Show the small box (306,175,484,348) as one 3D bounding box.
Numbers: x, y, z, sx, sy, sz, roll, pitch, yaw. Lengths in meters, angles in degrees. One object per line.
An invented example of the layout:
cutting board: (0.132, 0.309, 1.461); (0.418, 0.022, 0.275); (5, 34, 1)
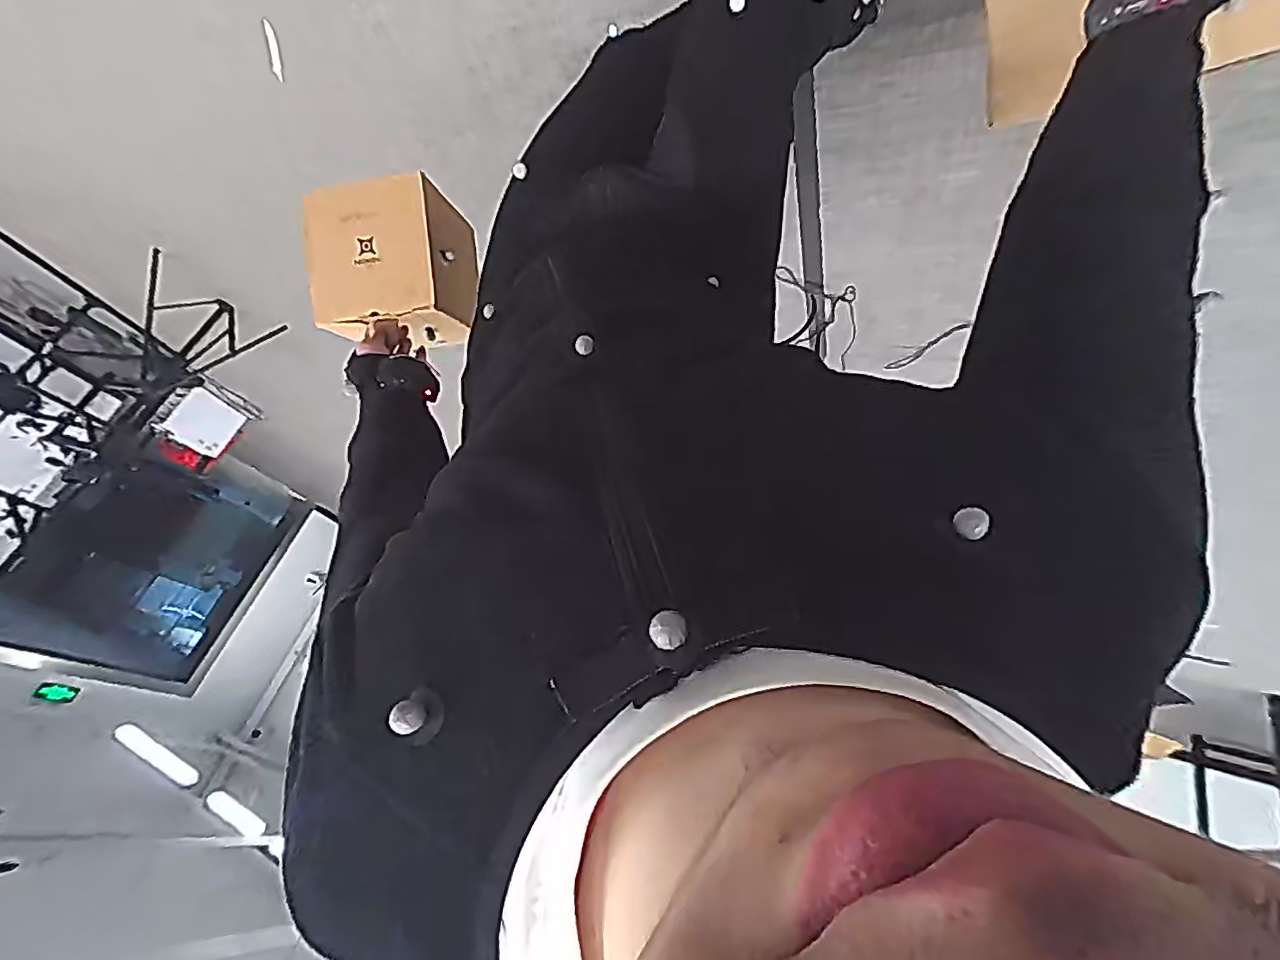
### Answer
small box: (-0.336, -0.295, 0.772); (0.168, 0.179, 0.176); (-7, 180, 5)
